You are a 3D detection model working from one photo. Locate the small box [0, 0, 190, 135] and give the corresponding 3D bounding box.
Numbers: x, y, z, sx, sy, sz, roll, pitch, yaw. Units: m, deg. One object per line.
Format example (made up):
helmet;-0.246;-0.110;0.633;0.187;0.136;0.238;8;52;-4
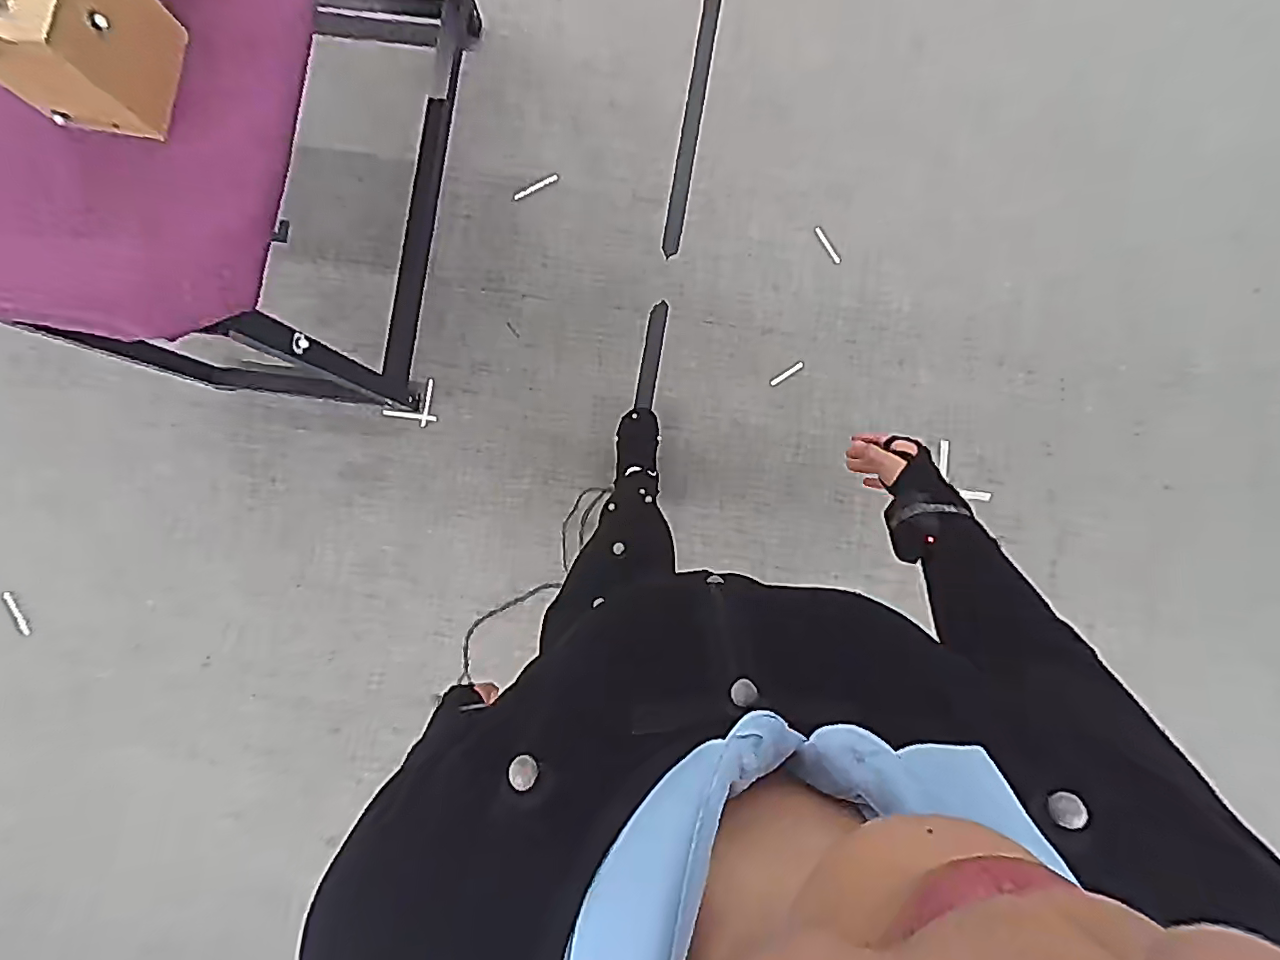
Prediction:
small box;-0.774;-0.616;0.742;0.168;0.176;0.179;9;85;0
